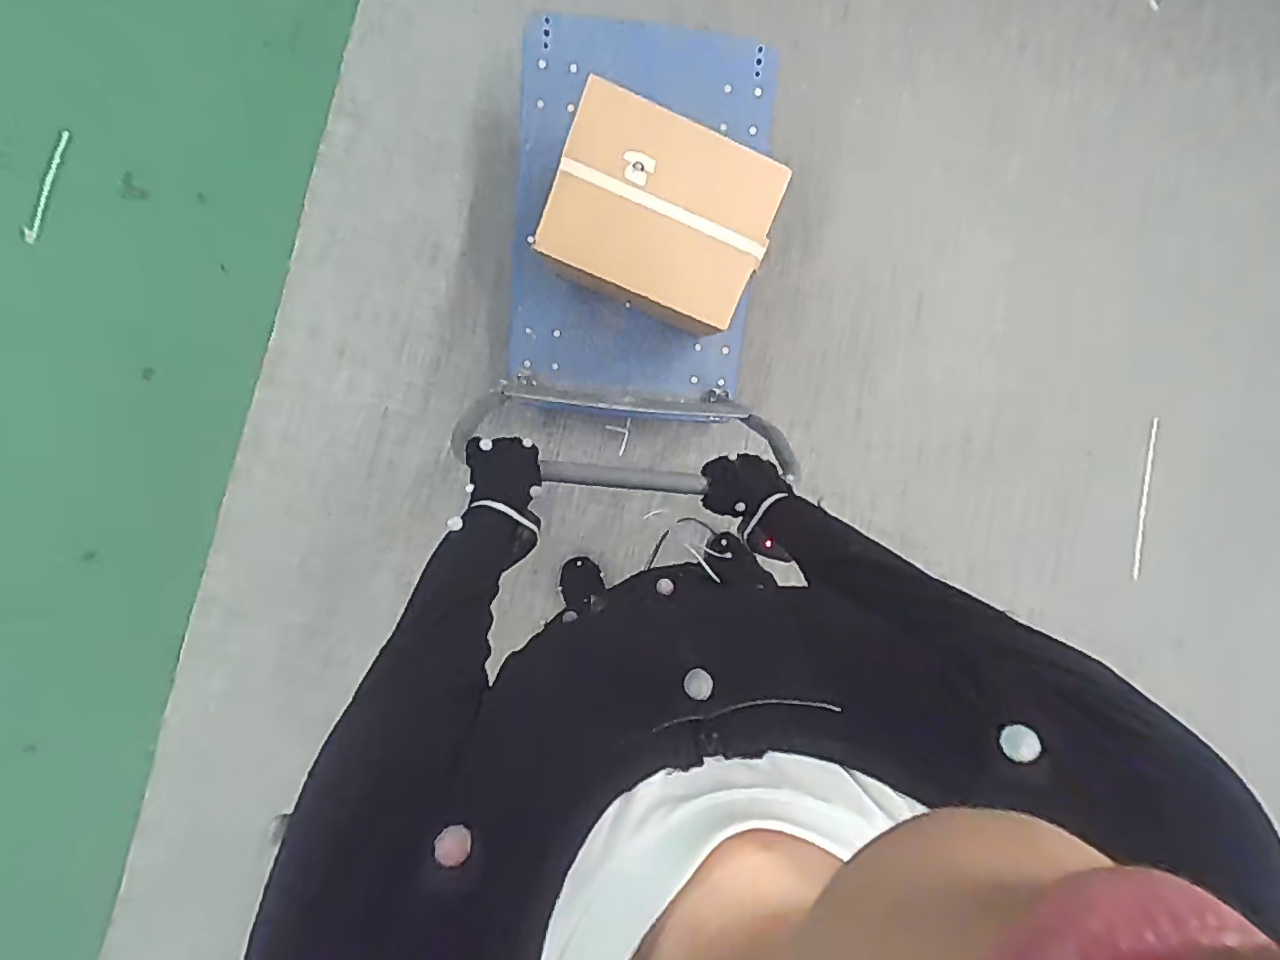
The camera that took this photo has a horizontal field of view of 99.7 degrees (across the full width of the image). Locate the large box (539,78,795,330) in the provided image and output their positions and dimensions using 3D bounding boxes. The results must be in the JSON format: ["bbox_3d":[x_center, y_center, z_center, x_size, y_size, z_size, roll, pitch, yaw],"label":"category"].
[{"bbox_3d":[0.048,-0.538,1.145,0.408,0.320,0.320,22,101,-5],"label":"large box"}]
